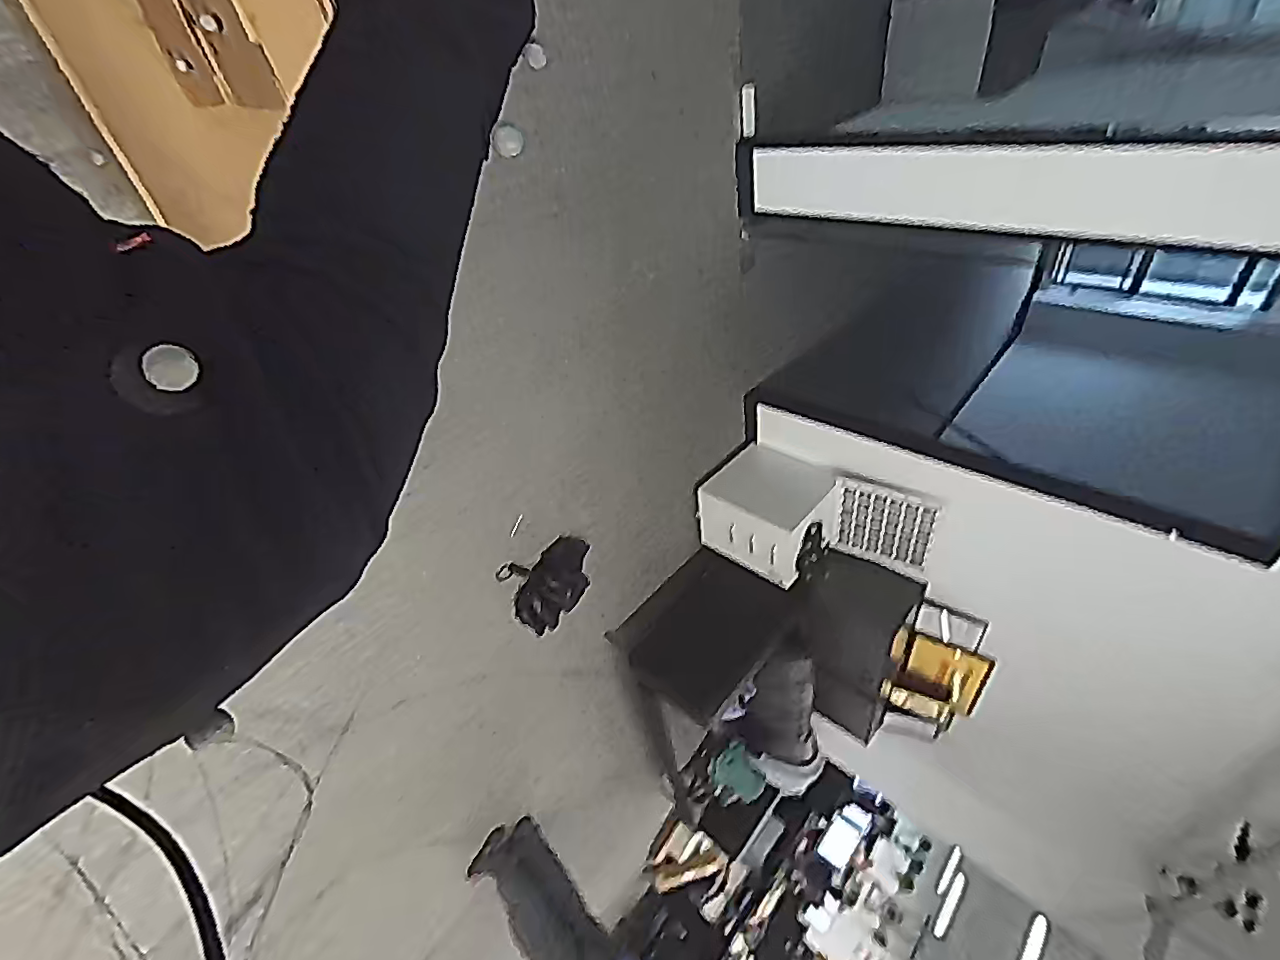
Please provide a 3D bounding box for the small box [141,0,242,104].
[{"bbox_3d":[-0.510,-0.593,0.694,0.179,0.176,0.168,-40,141,-33],"label":"small box"}]

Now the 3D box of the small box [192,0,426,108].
[{"bbox_3d":[-0.384,-0.531,0.609,0.179,0.176,0.168,-39,141,-29],"label":"small box"}]
